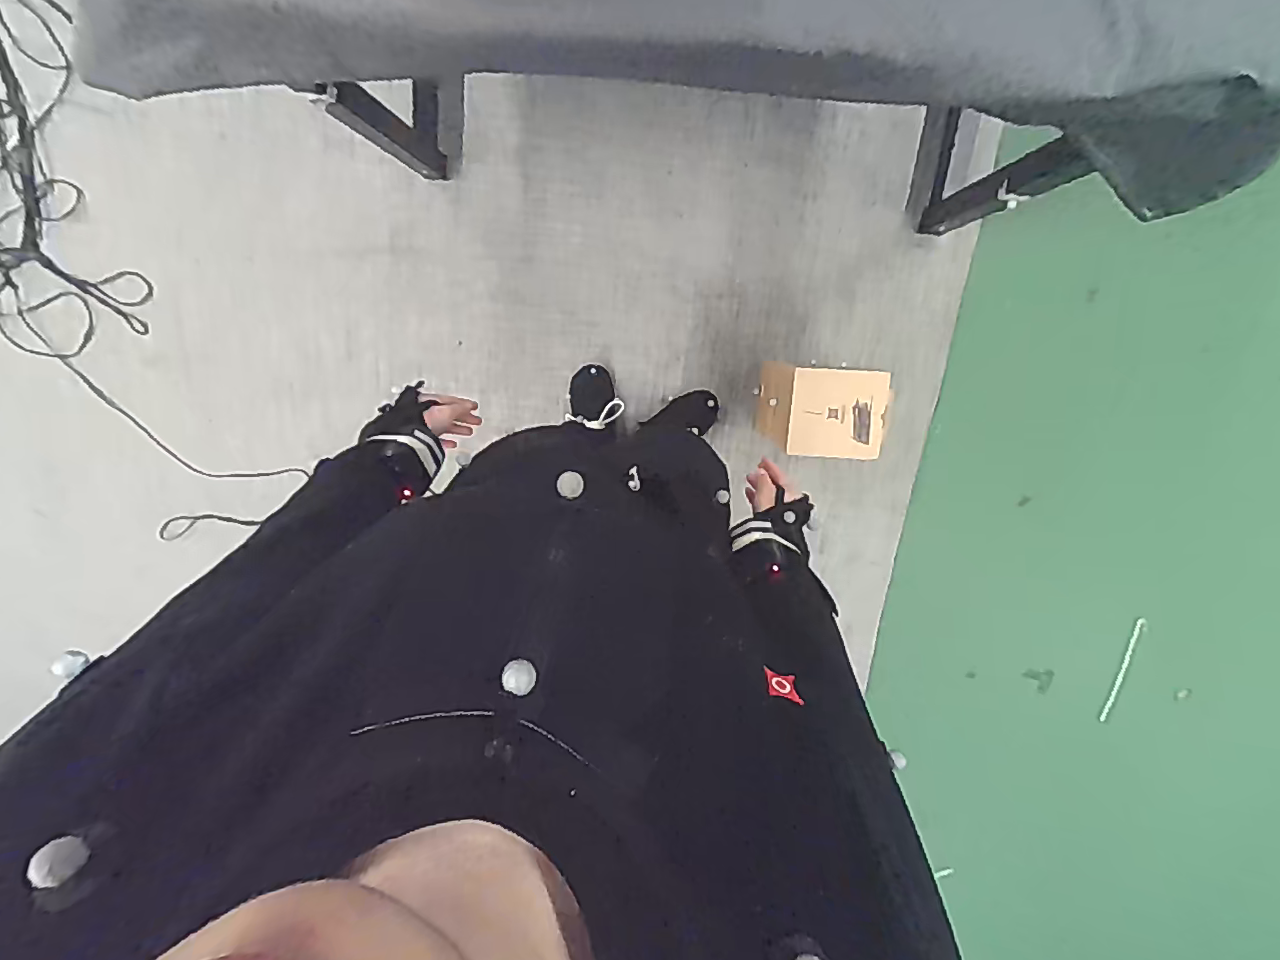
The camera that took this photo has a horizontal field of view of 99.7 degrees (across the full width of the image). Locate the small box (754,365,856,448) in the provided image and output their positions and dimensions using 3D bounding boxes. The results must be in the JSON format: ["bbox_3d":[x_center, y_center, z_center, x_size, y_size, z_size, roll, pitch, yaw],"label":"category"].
[{"bbox_3d":[0.368,-0.172,1.232,0.179,0.176,0.168,3,103,2],"label":"small box"}]
